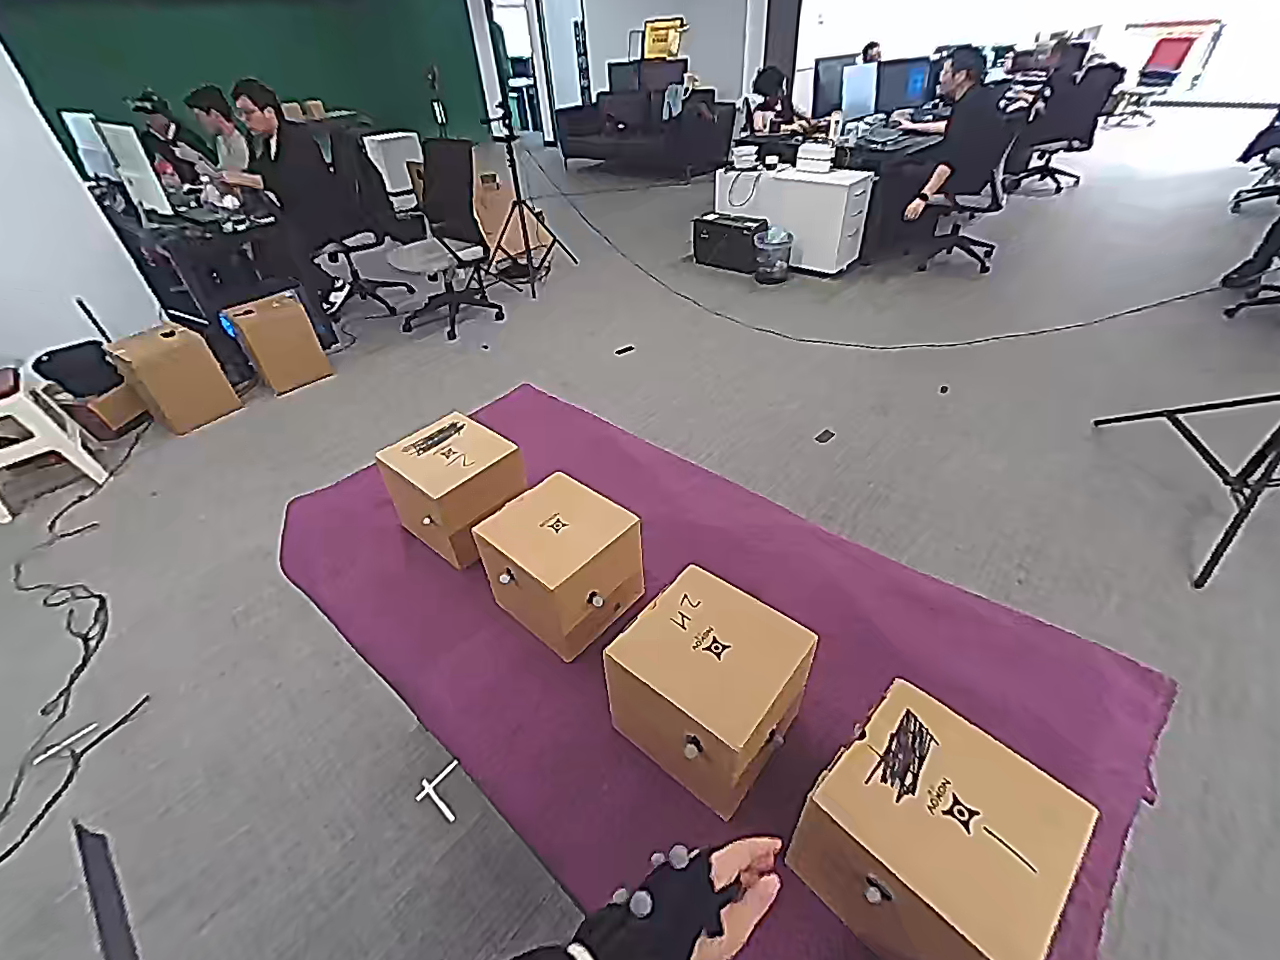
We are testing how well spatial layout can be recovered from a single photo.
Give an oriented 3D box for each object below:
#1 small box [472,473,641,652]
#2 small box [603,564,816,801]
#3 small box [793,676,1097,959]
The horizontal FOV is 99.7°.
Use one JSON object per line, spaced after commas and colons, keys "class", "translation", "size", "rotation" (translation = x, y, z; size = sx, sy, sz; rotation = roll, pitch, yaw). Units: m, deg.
{"class": "small box", "translation": [-0.114, 0.124, 0.801], "size": [0.179, 0.176, 0.168], "rotation": [27, 49, 33]}
{"class": "small box", "translation": [0.080, 0.239, 0.637], "size": [0.179, 0.176, 0.168], "rotation": [26, 46, 32]}
{"class": "small box", "translation": [0.265, 0.332, 0.506], "size": [0.168, 0.176, 0.179], "rotation": [-32, 47, -31]}
